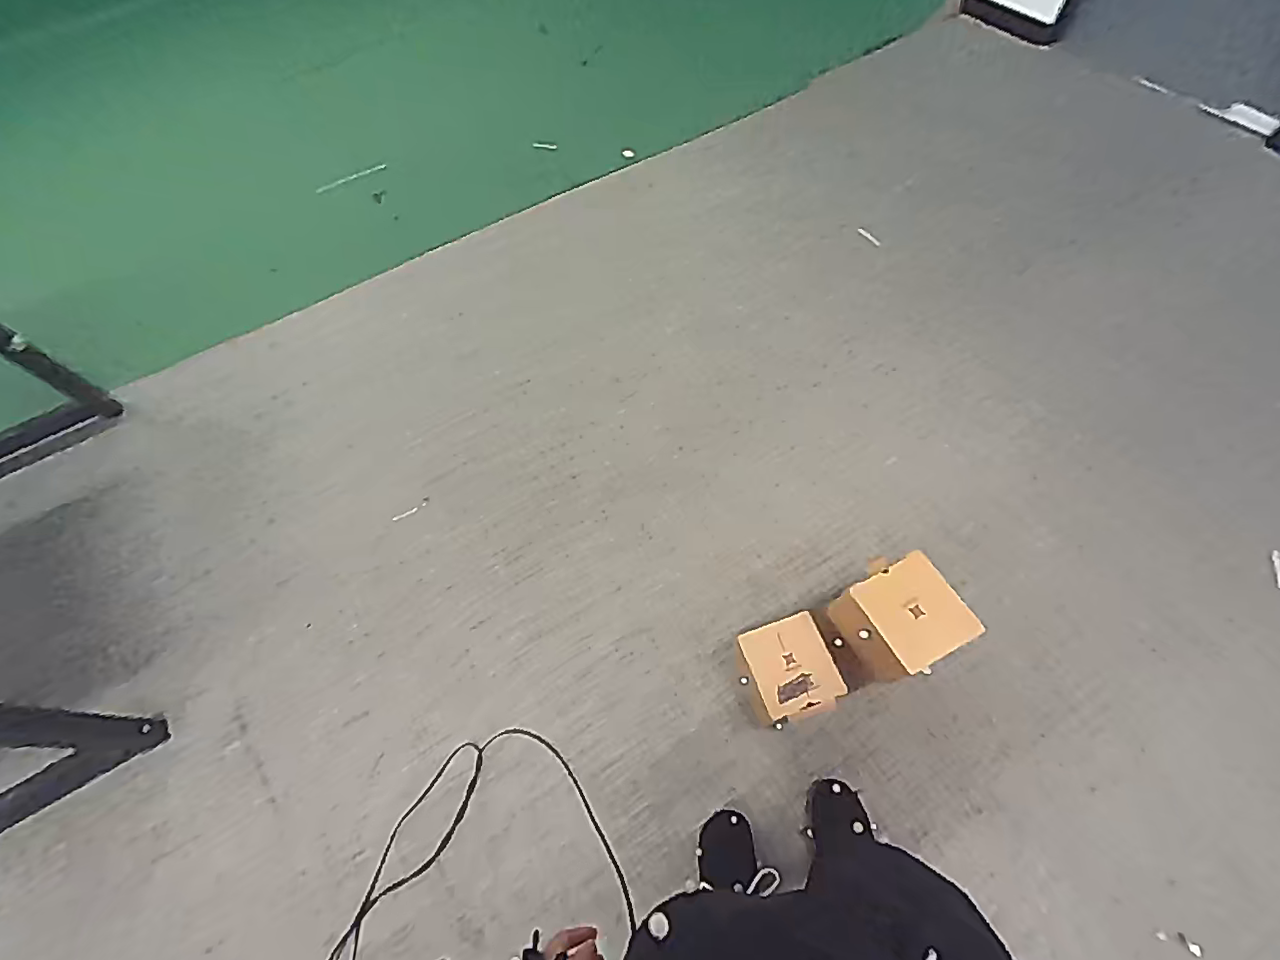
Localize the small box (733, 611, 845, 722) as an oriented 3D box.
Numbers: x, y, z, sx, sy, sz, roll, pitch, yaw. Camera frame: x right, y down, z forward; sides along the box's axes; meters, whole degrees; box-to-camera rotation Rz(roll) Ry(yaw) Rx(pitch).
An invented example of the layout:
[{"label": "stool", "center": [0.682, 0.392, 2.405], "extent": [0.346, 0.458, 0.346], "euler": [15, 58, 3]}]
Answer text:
[{"label": "small box", "center": [0.309, 0.409, 1.164], "extent": [0.168, 0.176, 0.179], "euler": [-18, 61, -5]}]

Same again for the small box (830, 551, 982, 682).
[{"label": "small box", "center": [0.496, 0.270, 1.038], "extent": [0.168, 0.176, 0.179], "euler": [-26, 63, -9]}]

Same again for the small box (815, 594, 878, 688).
[{"label": "small box", "center": [0.512, 0.331, 1.189], "extent": [0.168, 0.176, 0.179], "euler": [-26, 62, -9]}]
